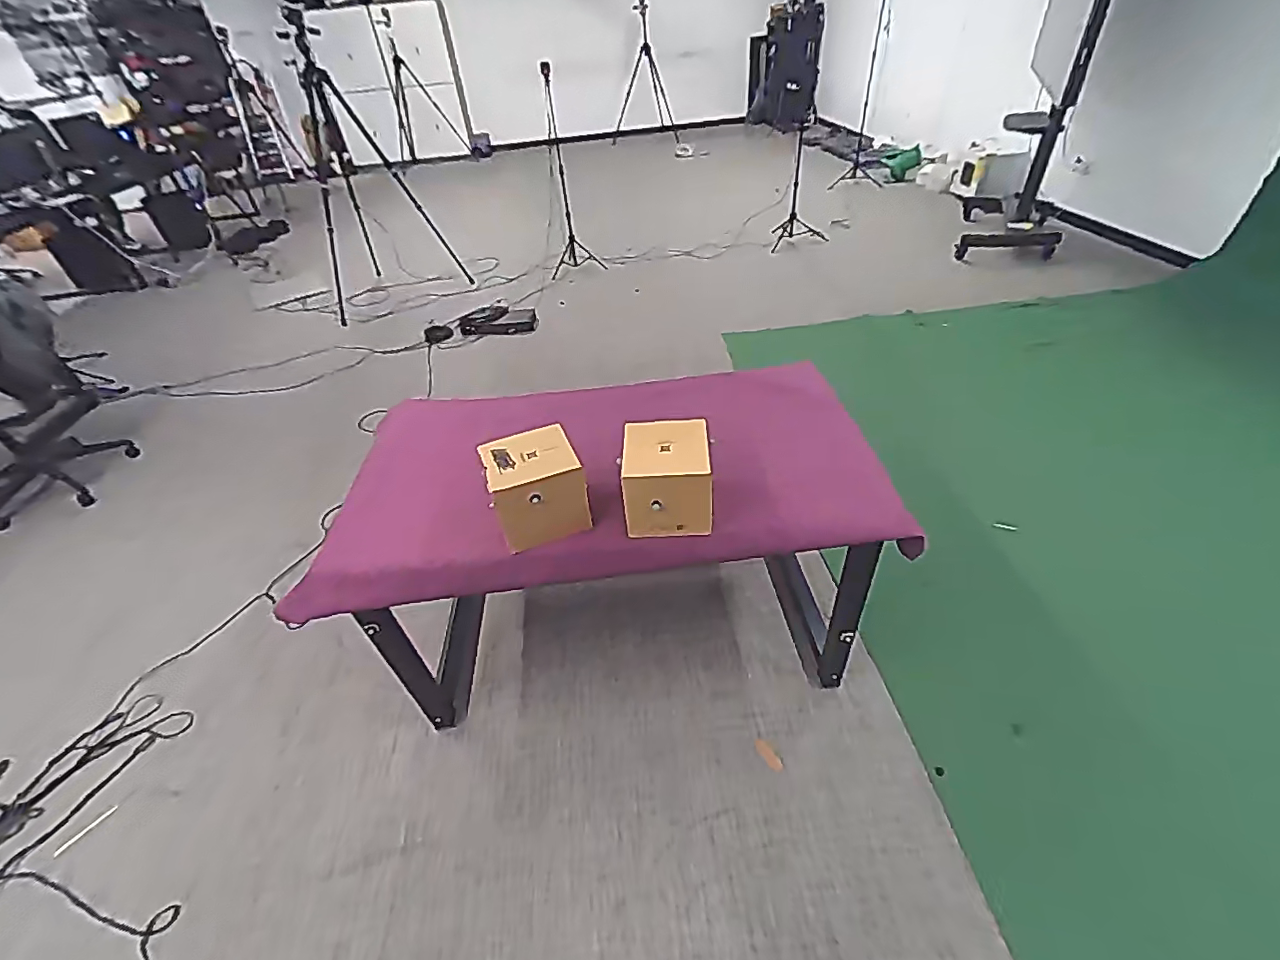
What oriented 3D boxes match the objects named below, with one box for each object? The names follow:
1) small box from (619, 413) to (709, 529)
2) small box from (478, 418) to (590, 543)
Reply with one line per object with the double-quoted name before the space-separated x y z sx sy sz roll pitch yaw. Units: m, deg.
"small box" 0.053 -0.014 1.095 0.168 0.176 0.179 -3 40 4
"small box" -0.214 0.003 1.104 0.179 0.176 0.168 -16 41 -14
